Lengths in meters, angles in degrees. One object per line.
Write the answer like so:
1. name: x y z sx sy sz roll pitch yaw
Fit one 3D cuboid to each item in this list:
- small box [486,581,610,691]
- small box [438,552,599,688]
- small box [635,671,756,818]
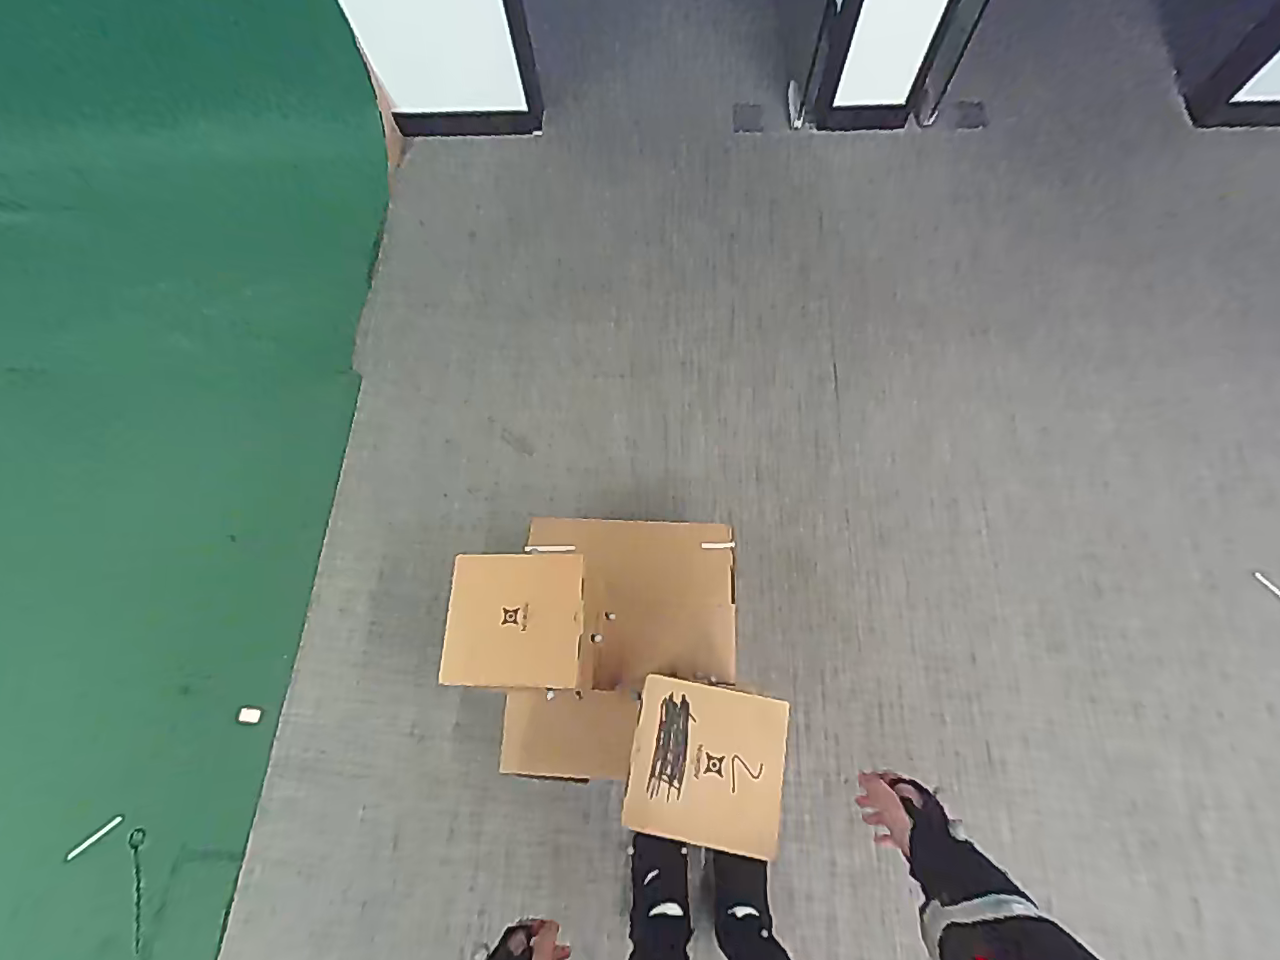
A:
1. small box: -0.144 0.267 0.915 0.179 0.176 0.168 -1 68 3
2. small box: -0.157 0.204 0.765 0.179 0.176 0.168 0 68 2
3. small box: 0.083 0.404 0.849 0.168 0.176 0.179 5 69 4
